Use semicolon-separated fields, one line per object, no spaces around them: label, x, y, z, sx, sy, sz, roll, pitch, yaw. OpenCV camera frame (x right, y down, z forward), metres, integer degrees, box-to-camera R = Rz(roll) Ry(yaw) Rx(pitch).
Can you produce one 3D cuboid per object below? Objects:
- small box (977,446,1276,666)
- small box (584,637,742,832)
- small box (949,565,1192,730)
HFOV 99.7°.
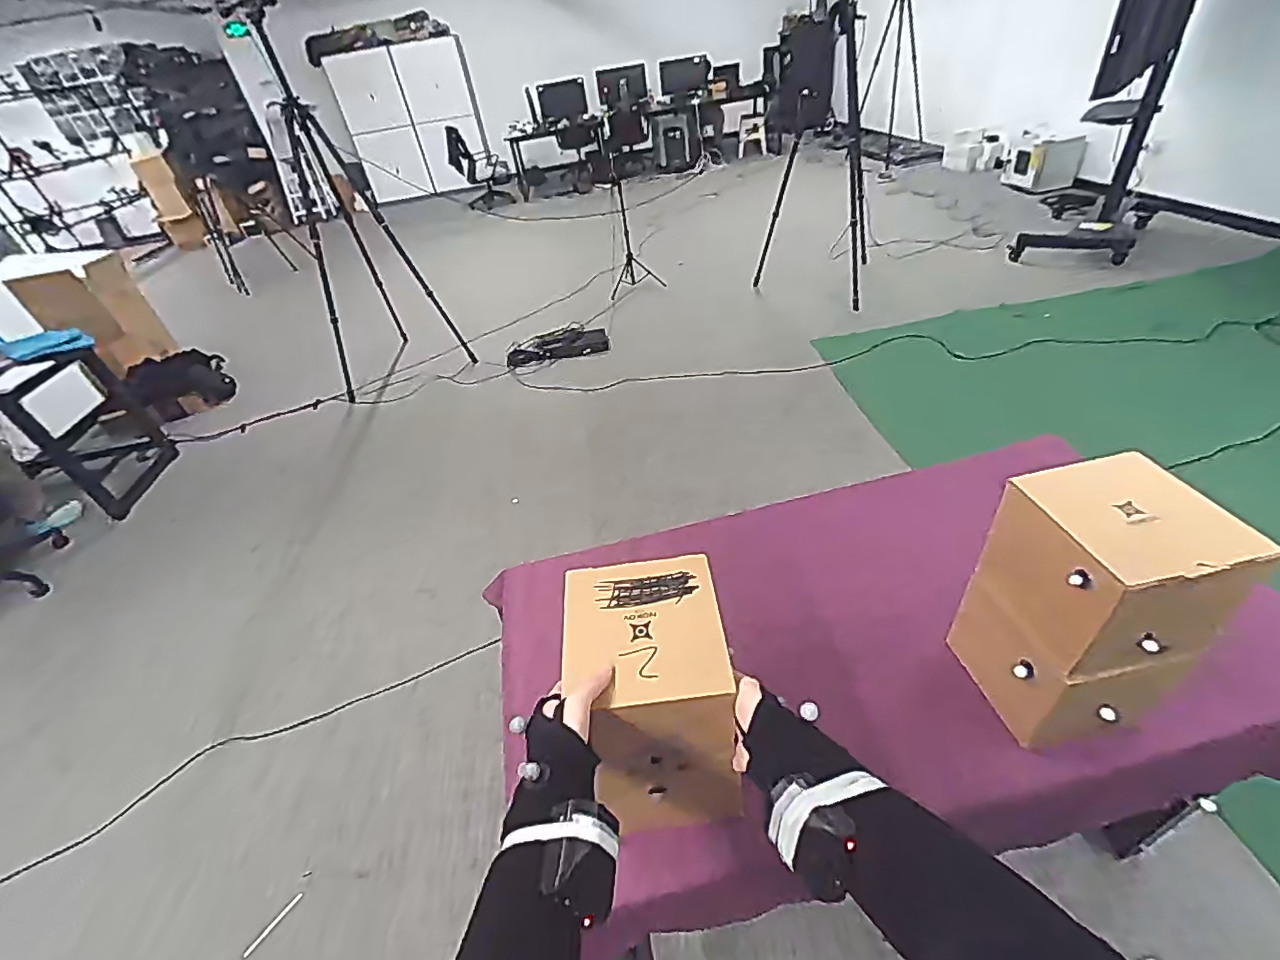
small box;0.544;0.089;0.644;0.168;0.176;0.179;-13;41;-2
small box;0.030;0.339;0.719;0.179;0.176;0.168;-11;39;-1
small box;0.564;0.219;0.741;0.168;0.176;0.179;-13;39;-3
